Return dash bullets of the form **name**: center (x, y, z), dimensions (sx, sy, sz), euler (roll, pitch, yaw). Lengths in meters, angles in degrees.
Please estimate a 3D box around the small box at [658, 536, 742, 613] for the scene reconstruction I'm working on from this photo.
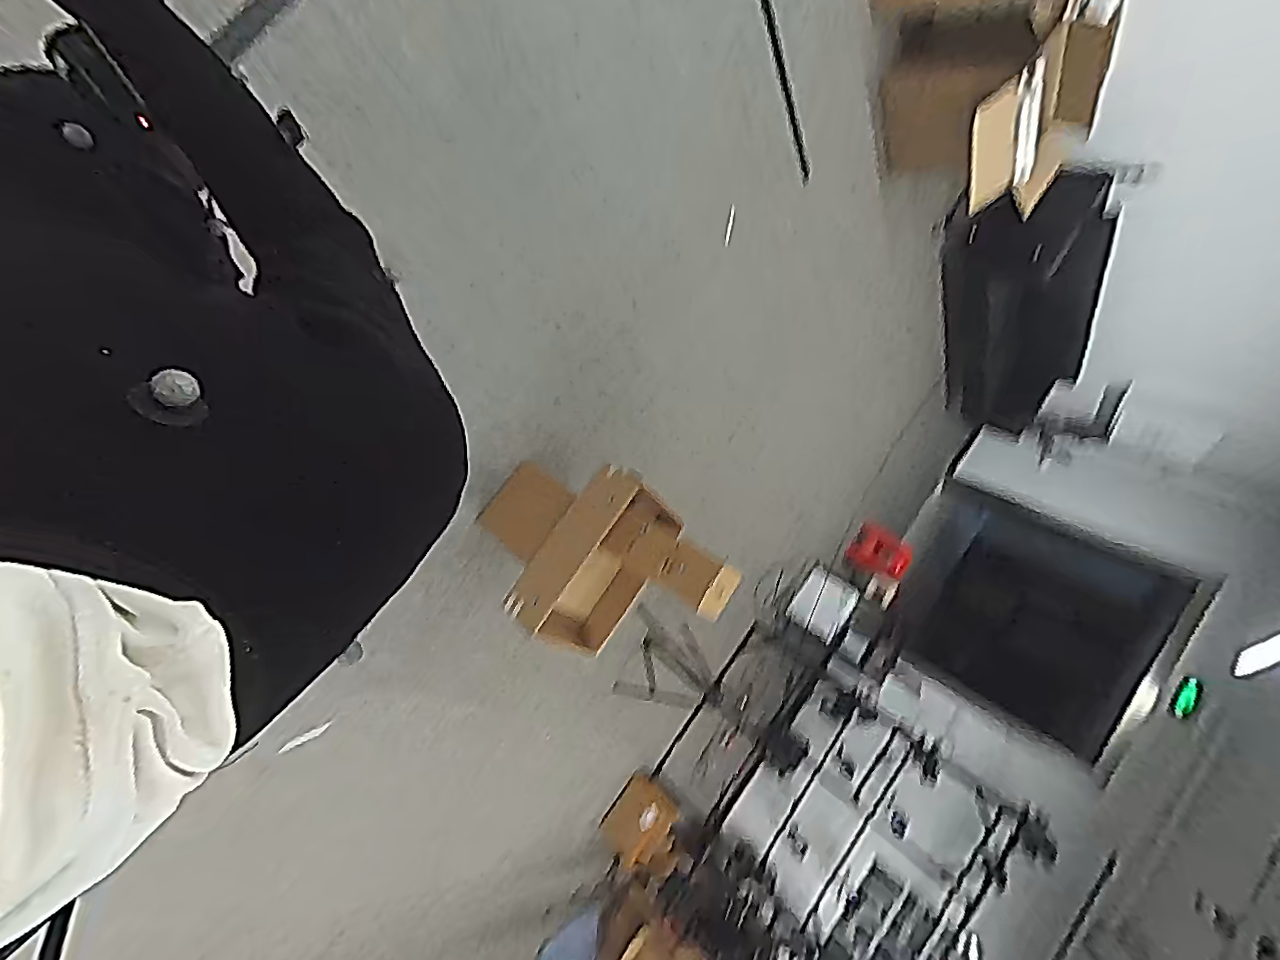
- **small box**: center (0.189, 0.298, 1.712), dimensions (0.168, 0.176, 0.179), euler (-58, 144, -2)

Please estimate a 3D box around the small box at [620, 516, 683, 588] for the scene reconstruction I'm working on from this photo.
- **small box**: center (0.064, 0.239, 1.804), dimensions (0.168, 0.176, 0.179), euler (-57, 144, -3)

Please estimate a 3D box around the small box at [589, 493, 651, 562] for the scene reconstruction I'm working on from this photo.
- **small box**: center (-0.053, 0.174, 1.899), dimensions (0.179, 0.176, 0.168), euler (-58, 143, -3)
